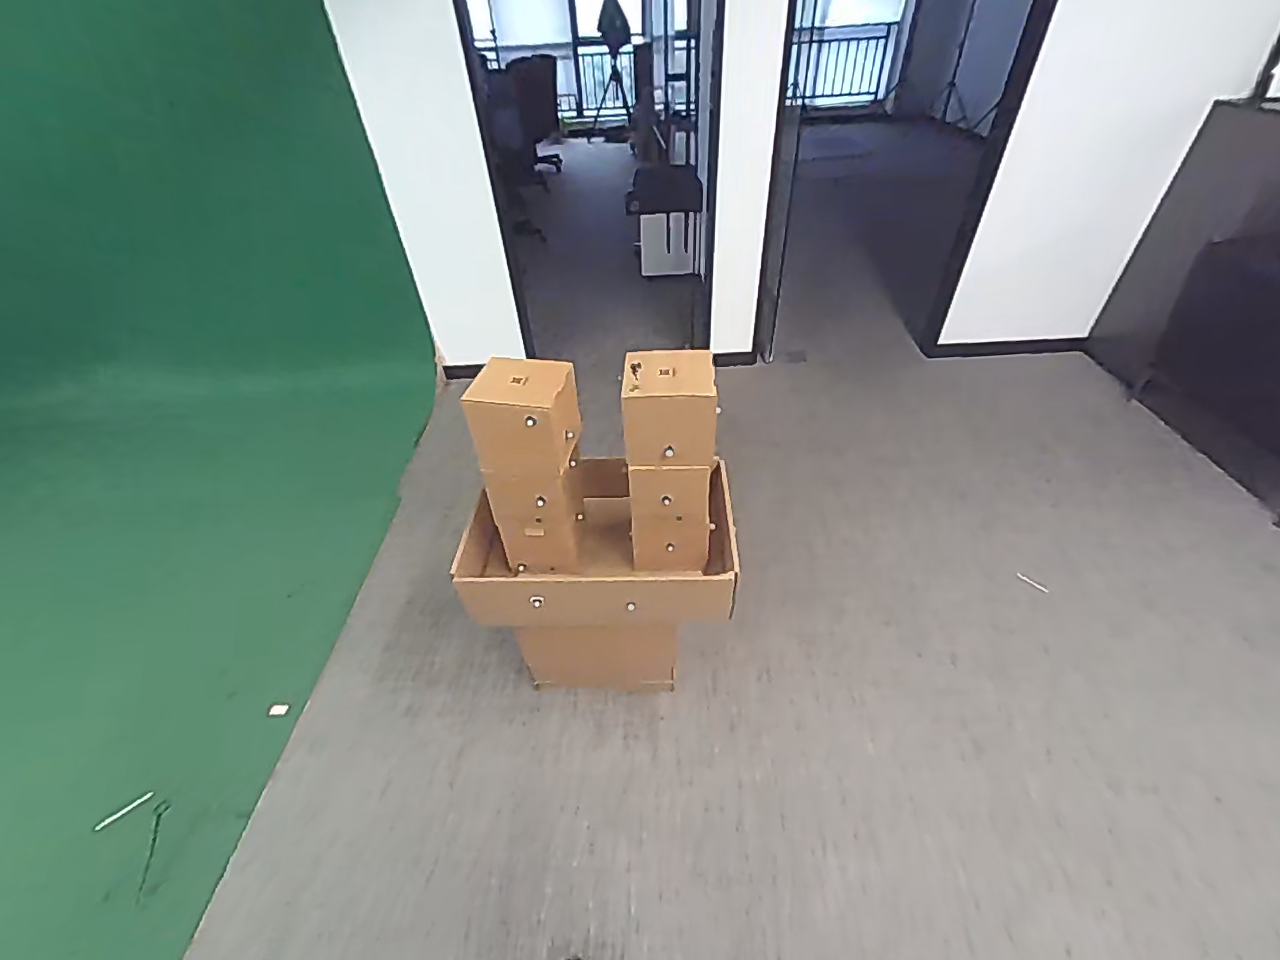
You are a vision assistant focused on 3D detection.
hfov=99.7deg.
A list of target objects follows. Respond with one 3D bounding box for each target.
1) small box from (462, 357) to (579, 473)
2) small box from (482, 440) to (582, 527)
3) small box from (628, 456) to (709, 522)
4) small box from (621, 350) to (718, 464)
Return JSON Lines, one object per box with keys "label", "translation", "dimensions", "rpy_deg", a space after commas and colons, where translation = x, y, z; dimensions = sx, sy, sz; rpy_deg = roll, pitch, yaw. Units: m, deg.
{"label": "small box", "translation": [-0.230, -0.131, 1.095], "dimensions": [0.179, 0.176, 0.168], "rpy_deg": [7, 42, 7]}
{"label": "small box", "translation": [-0.229, -0.013, 1.207], "dimensions": [0.168, 0.176, 0.179], "rpy_deg": [4, 42, 6]}
{"label": "small box", "translation": [0.065, -0.021, 1.192], "dimensions": [0.168, 0.176, 0.179], "rpy_deg": [0, 42, 3]}
{"label": "small box", "translation": [0.060, -0.145, 1.083], "dimensions": [0.179, 0.176, 0.168], "rpy_deg": [0, 42, 4]}
